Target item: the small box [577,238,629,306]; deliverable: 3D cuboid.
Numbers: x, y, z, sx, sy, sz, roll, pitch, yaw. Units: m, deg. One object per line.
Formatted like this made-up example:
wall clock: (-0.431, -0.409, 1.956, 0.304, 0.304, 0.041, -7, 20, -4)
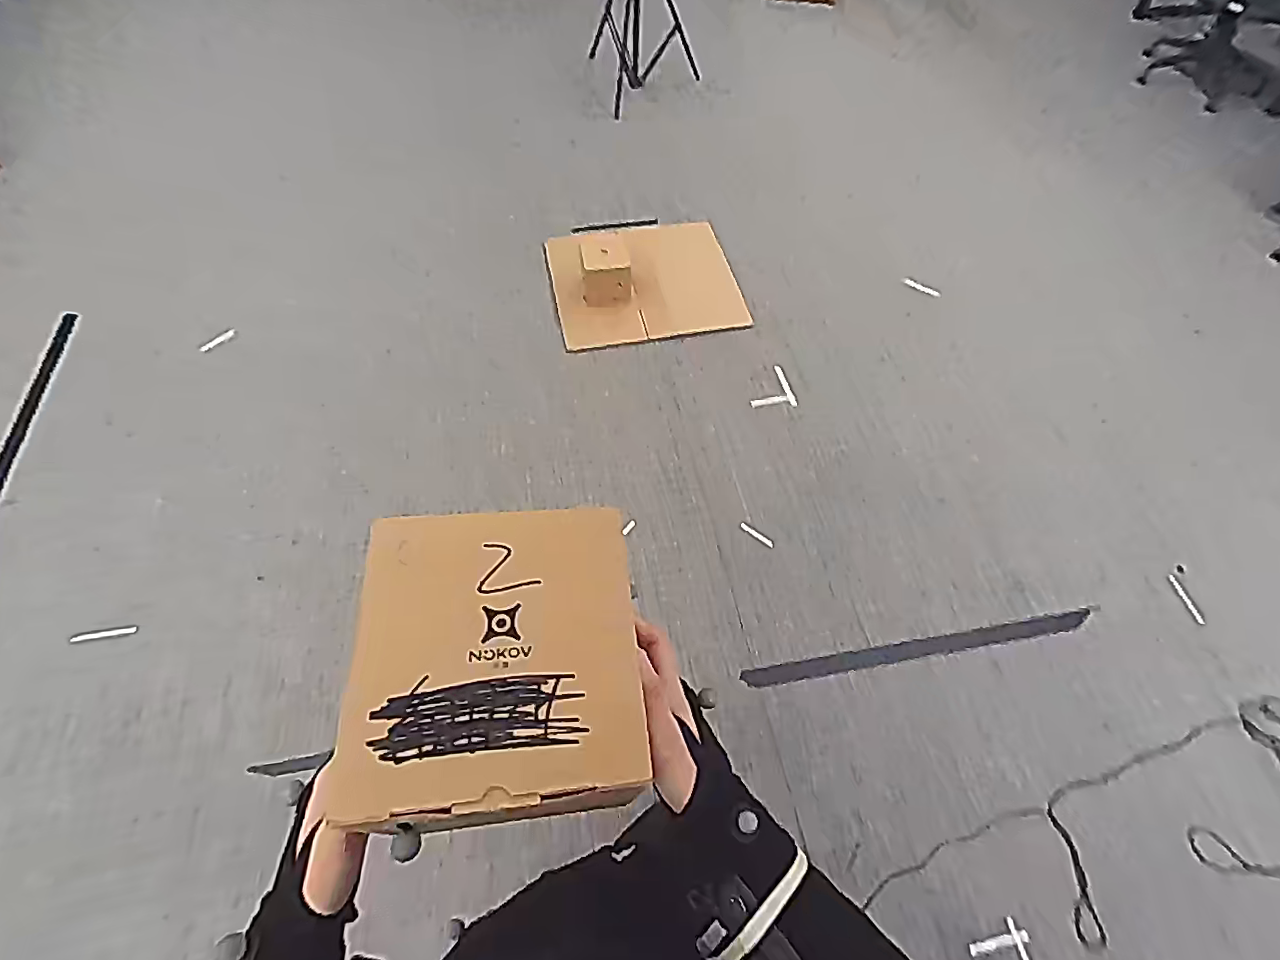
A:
small box: (-0.134, -0.757, 1.986, 0.168, 0.176, 0.179, -9, 61, -9)
